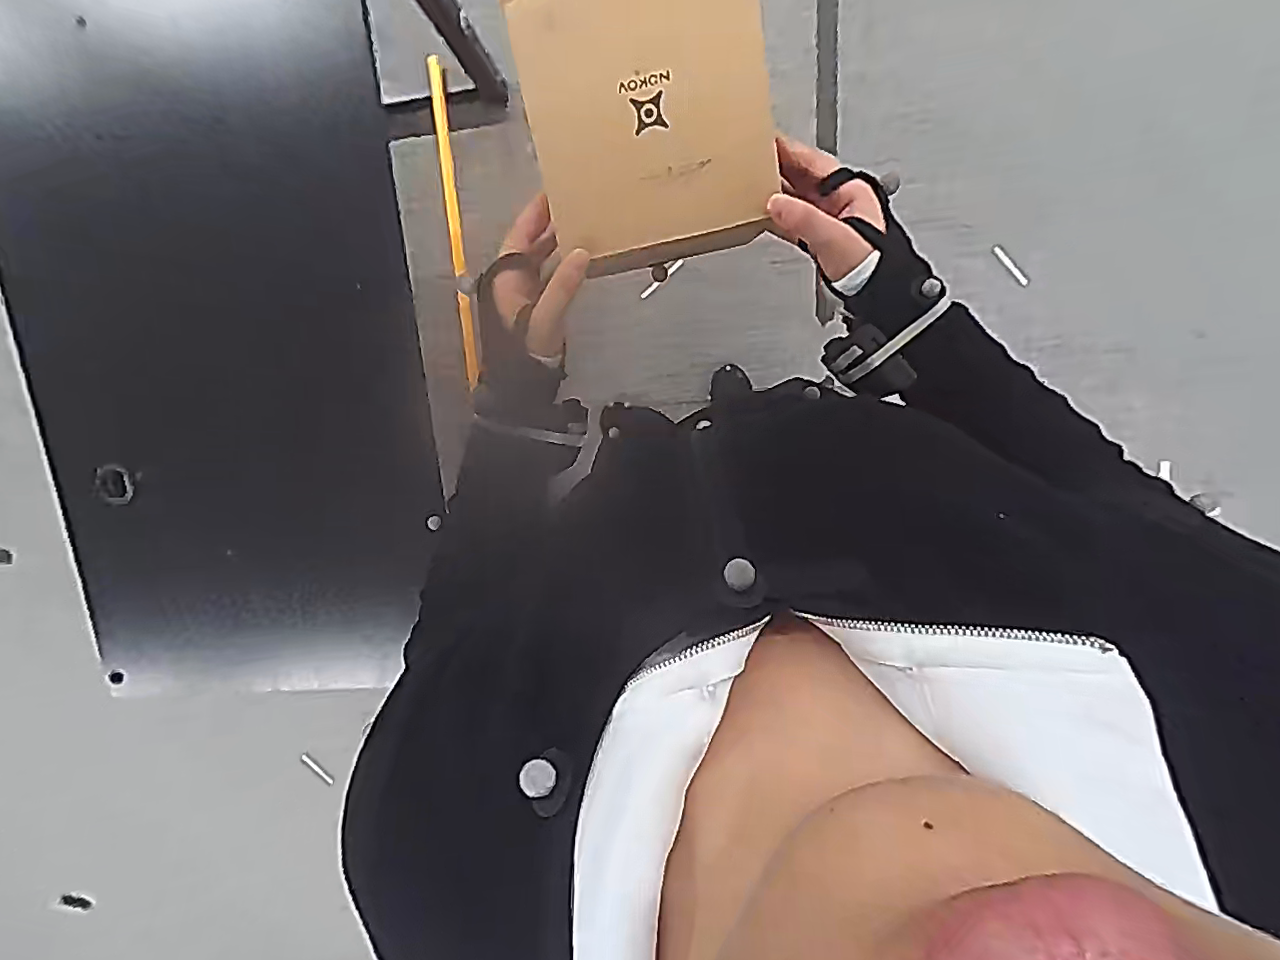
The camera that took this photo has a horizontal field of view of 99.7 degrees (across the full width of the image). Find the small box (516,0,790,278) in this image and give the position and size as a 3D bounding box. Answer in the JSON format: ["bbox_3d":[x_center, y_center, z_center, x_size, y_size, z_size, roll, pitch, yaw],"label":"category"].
[{"bbox_3d":[0.015,-0.275,0.444,0.168,0.176,0.179,-10,107,6],"label":"small box"}]
